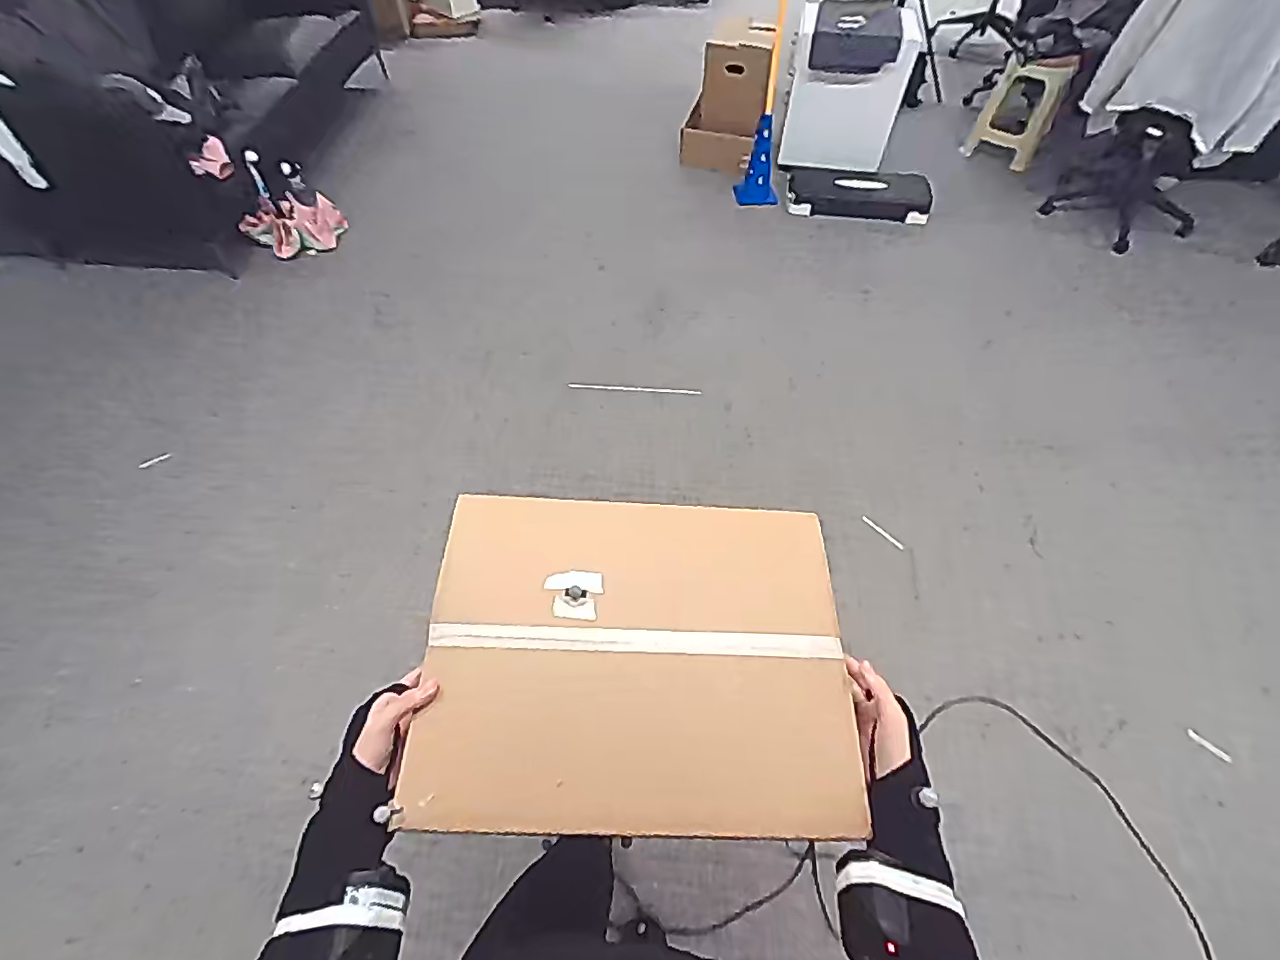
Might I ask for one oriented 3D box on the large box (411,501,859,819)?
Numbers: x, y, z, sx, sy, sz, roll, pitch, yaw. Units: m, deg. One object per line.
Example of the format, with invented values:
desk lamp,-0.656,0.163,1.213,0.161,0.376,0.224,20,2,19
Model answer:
large box,-0.006,0.235,0.677,0.408,0.320,0.320,2,58,-2
